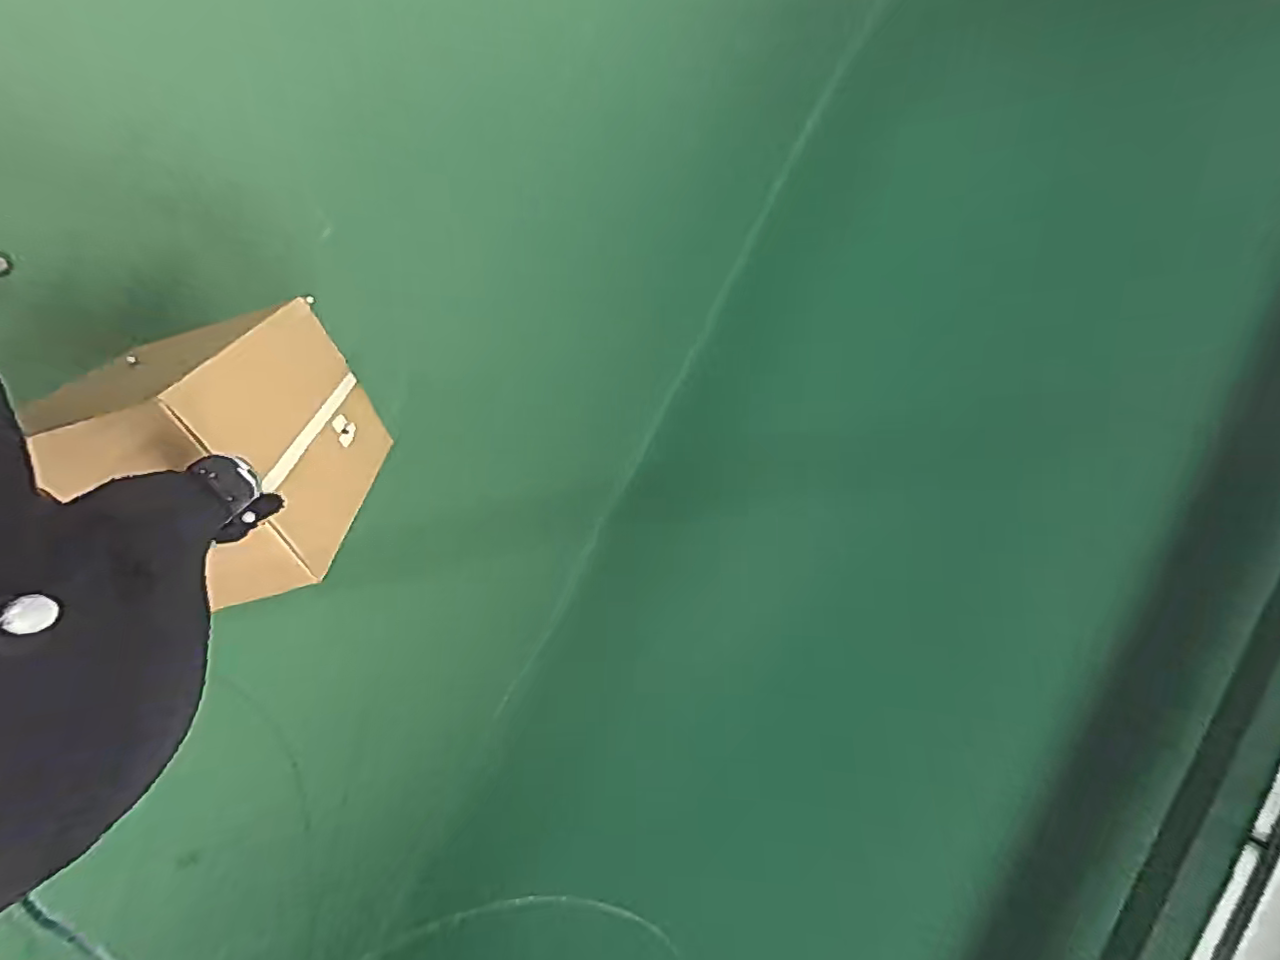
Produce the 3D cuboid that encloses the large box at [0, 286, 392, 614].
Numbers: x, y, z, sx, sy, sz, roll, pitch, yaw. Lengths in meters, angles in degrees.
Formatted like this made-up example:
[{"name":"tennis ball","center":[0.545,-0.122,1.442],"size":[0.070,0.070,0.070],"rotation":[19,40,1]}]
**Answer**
[{"name":"large box","center":[-0.670,-0.061,0.876],"size":[0.320,0.408,0.320],"rotation":[-16,126,3]}]
